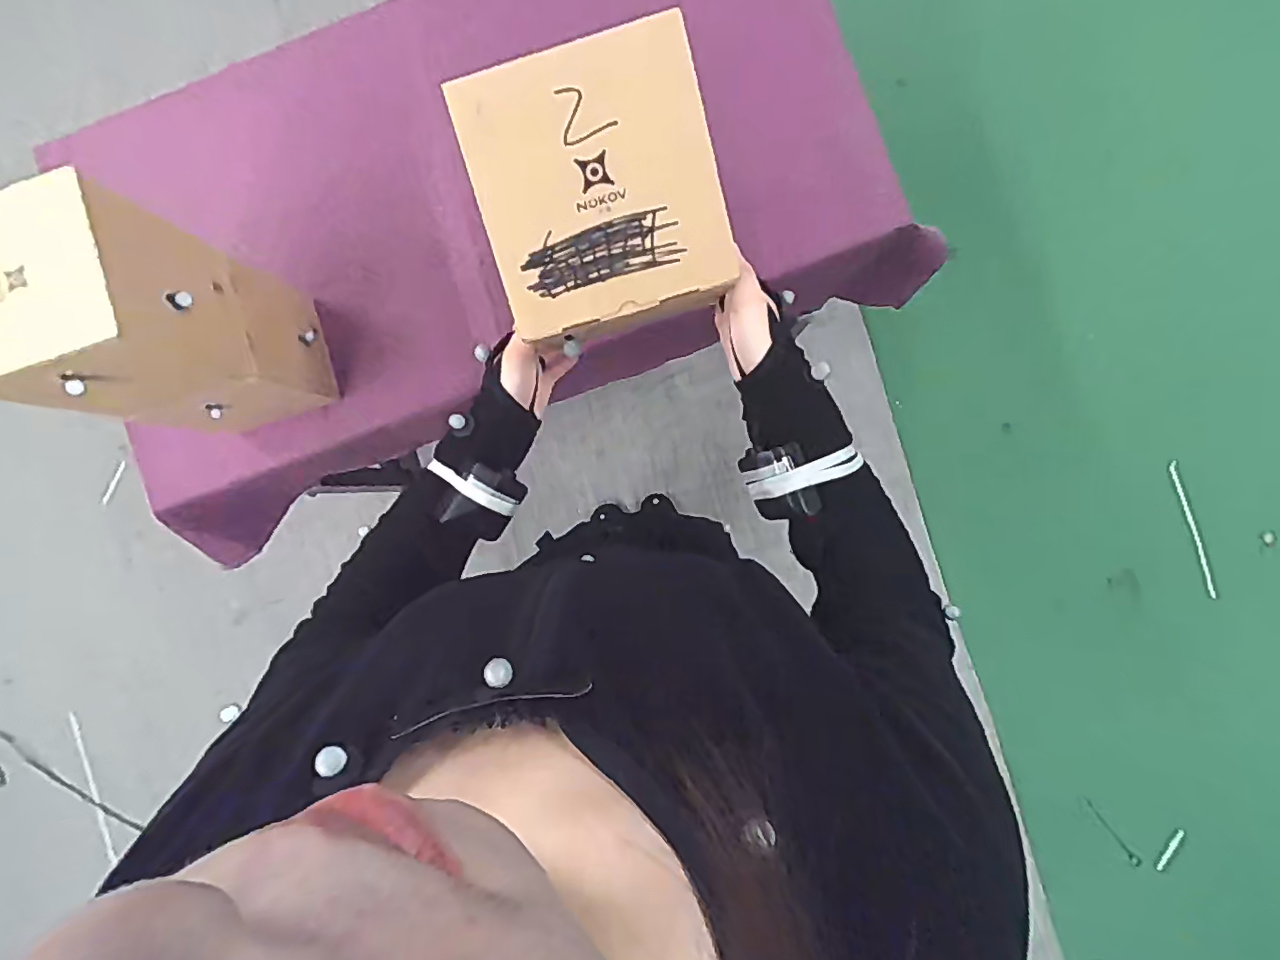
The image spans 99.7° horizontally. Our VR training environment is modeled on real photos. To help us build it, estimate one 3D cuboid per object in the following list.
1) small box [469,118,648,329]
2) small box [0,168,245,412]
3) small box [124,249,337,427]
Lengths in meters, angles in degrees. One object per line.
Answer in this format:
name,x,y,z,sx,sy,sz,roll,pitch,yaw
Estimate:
small box,-0.093,-0.318,0.708,0.179,0.176,0.168,-17,88,4
small box,-0.562,-0.180,0.569,0.179,0.176,0.168,-17,88,4
small box,-0.557,-0.176,0.732,0.179,0.176,0.168,-16,89,3
